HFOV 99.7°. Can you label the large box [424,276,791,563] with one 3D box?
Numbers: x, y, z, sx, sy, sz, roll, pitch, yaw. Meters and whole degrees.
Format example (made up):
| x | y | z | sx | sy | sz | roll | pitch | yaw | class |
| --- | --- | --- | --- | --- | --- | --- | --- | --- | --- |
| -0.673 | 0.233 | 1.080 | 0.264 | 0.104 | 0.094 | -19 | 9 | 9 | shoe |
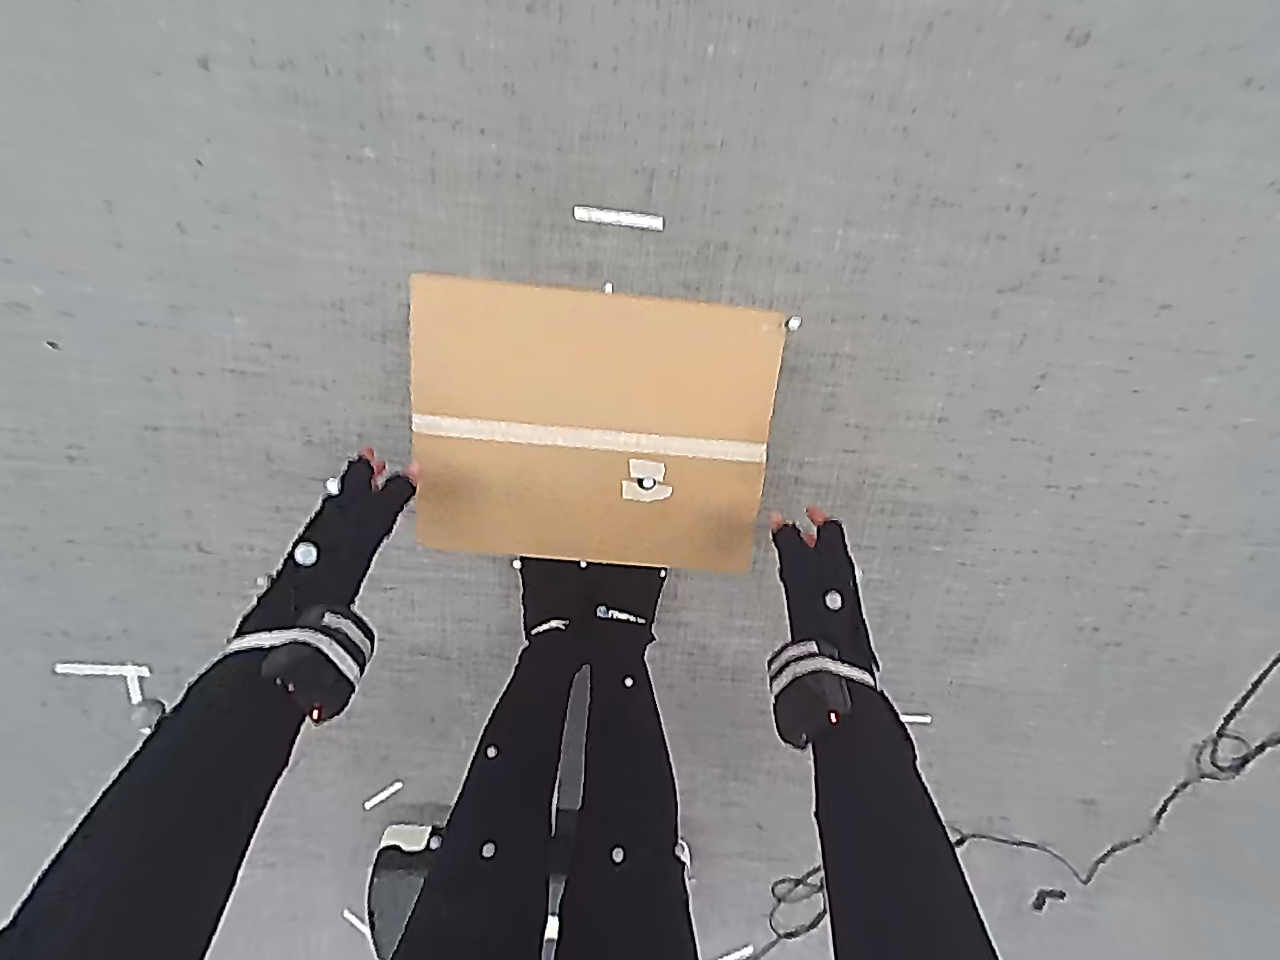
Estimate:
| x | y | z | sx | sy | sz | roll | pitch | yaw | class |
| --- | --- | --- | --- | --- | --- | --- | --- | --- | --- |
| -0.051 | -0.096 | 0.763 | 0.408 | 0.320 | 0.320 | 5 | 107 | -4 | large box |
